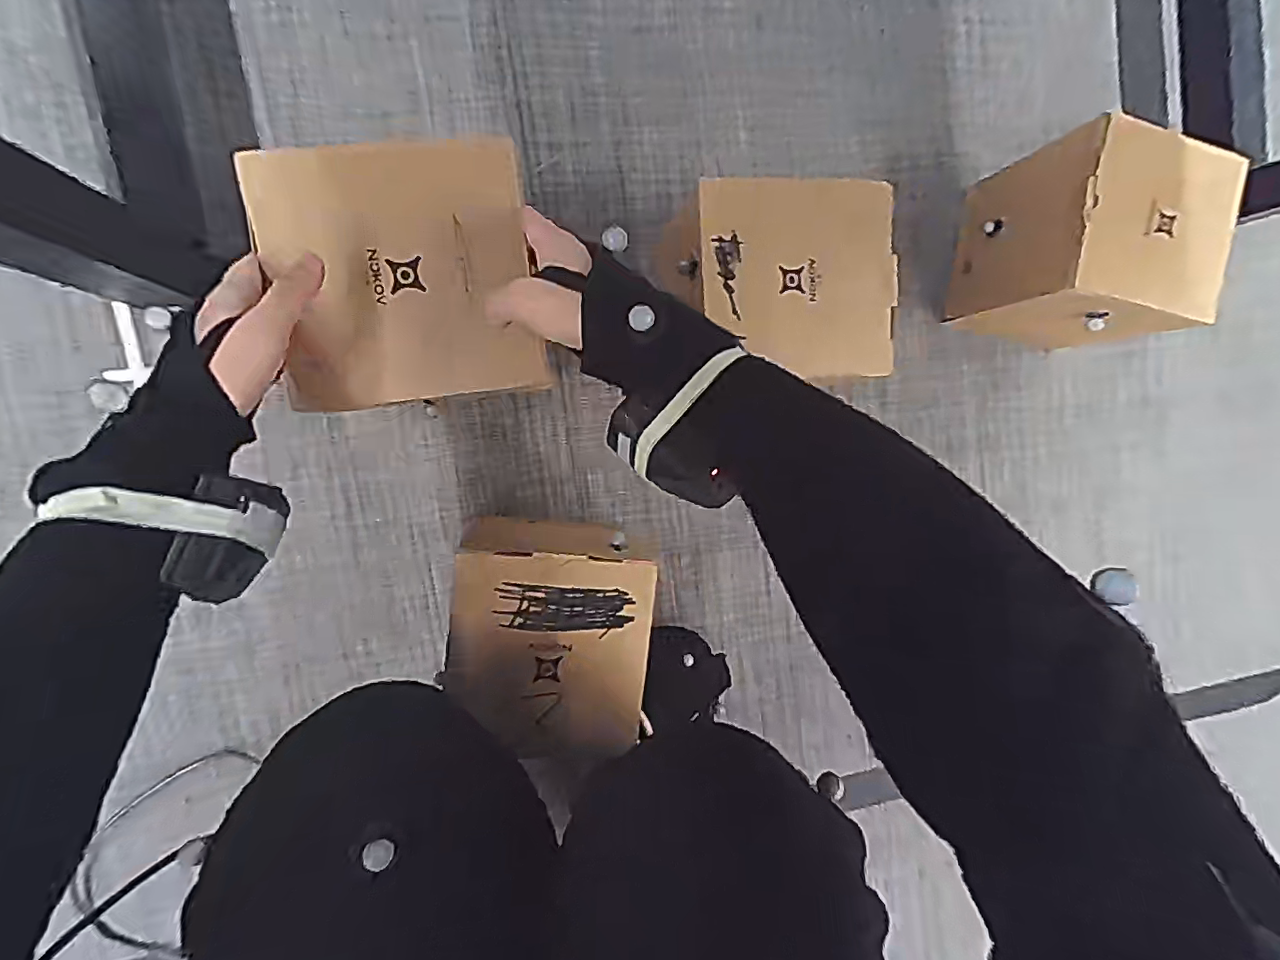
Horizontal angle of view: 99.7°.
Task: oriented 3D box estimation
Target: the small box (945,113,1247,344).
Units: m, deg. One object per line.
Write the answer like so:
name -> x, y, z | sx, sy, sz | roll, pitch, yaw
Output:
small box -> 0.483, -0.253, 0.596 | 0.179, 0.176, 0.168 | 8, 93, -11

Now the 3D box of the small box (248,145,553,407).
small box -> -0.168, -0.147, 0.442 | 0.179, 0.176, 0.168 | -6, 100, -8

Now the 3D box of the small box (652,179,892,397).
small box -> 0.118, -0.171, 0.531 | 0.179, 0.176, 0.168 | -5, 96, -11
